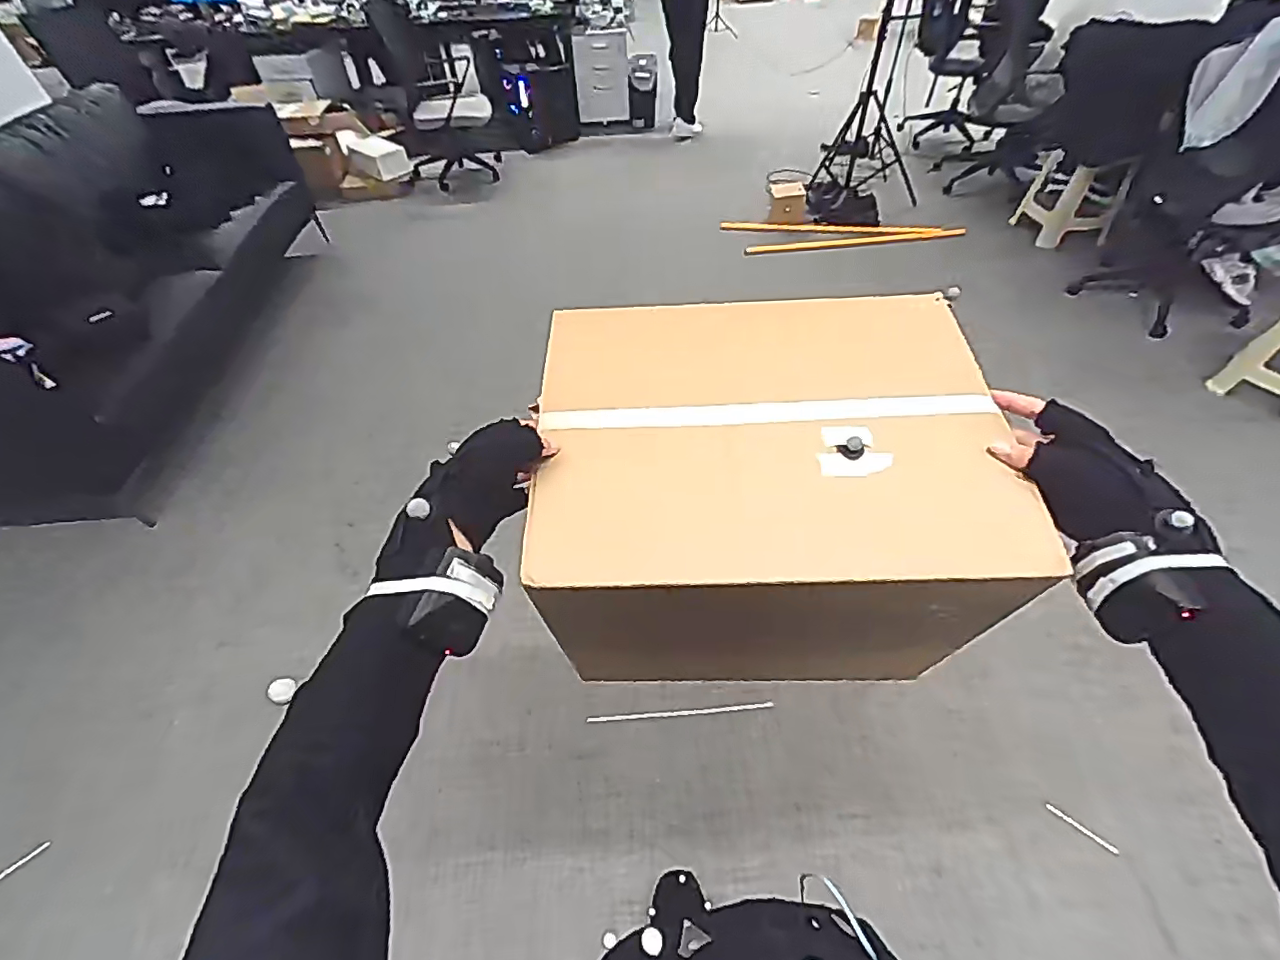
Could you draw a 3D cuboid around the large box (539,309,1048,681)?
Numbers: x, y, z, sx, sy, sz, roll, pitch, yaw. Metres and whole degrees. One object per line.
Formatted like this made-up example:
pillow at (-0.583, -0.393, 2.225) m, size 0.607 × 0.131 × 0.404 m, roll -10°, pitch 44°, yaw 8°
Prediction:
large box at (0.119, 0.032, 0.622) m, size 0.408 × 0.320 × 0.320 m, roll -1°, pitch 57°, yaw 2°
